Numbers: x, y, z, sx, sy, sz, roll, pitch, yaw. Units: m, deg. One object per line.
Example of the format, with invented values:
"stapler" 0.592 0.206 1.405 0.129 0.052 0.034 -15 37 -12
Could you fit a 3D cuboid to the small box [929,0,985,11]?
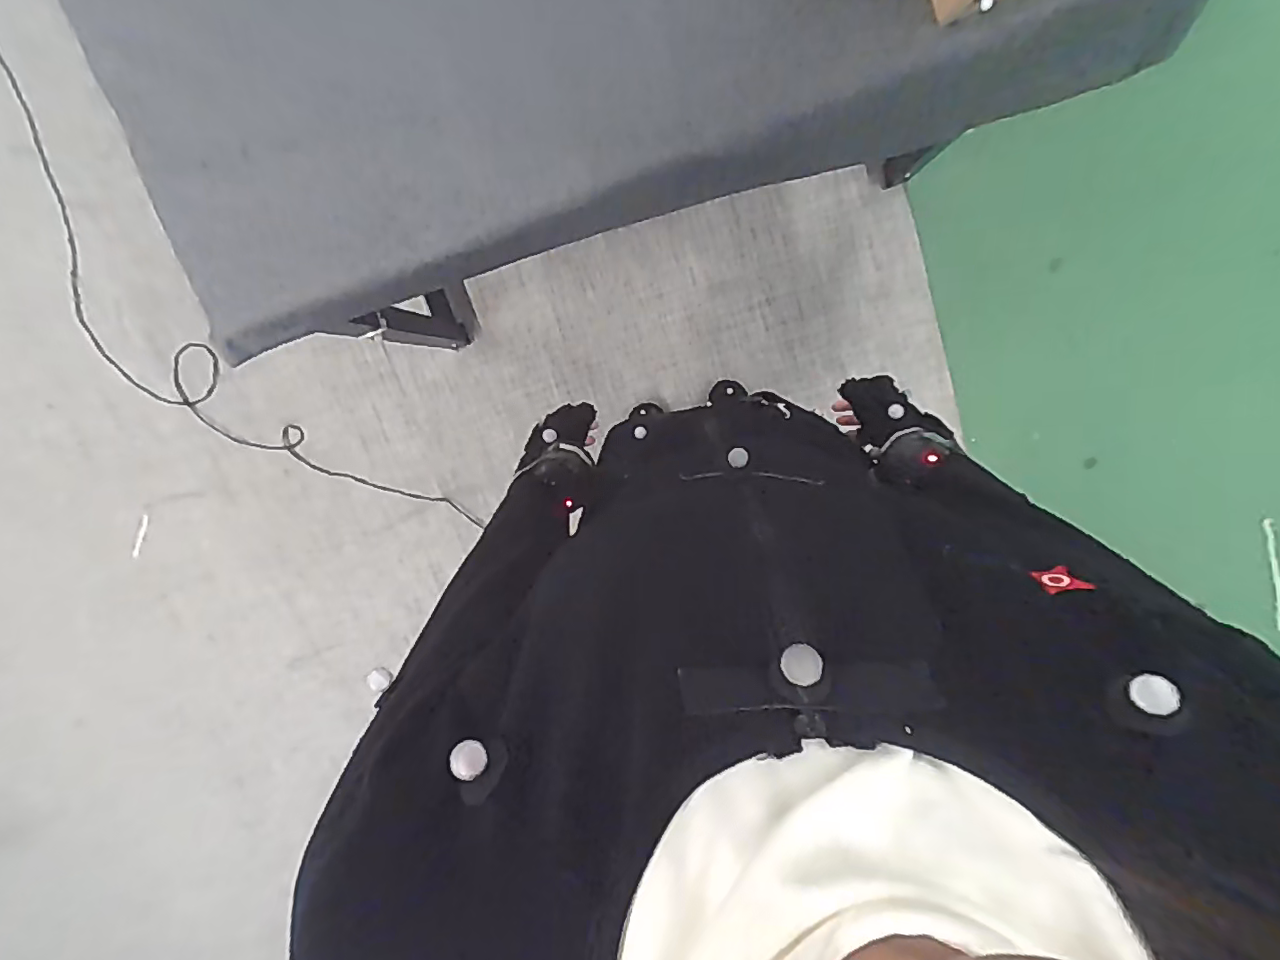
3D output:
"small box" 0.361 -0.587 0.492 0.168 0.176 0.179 -22 97 7
